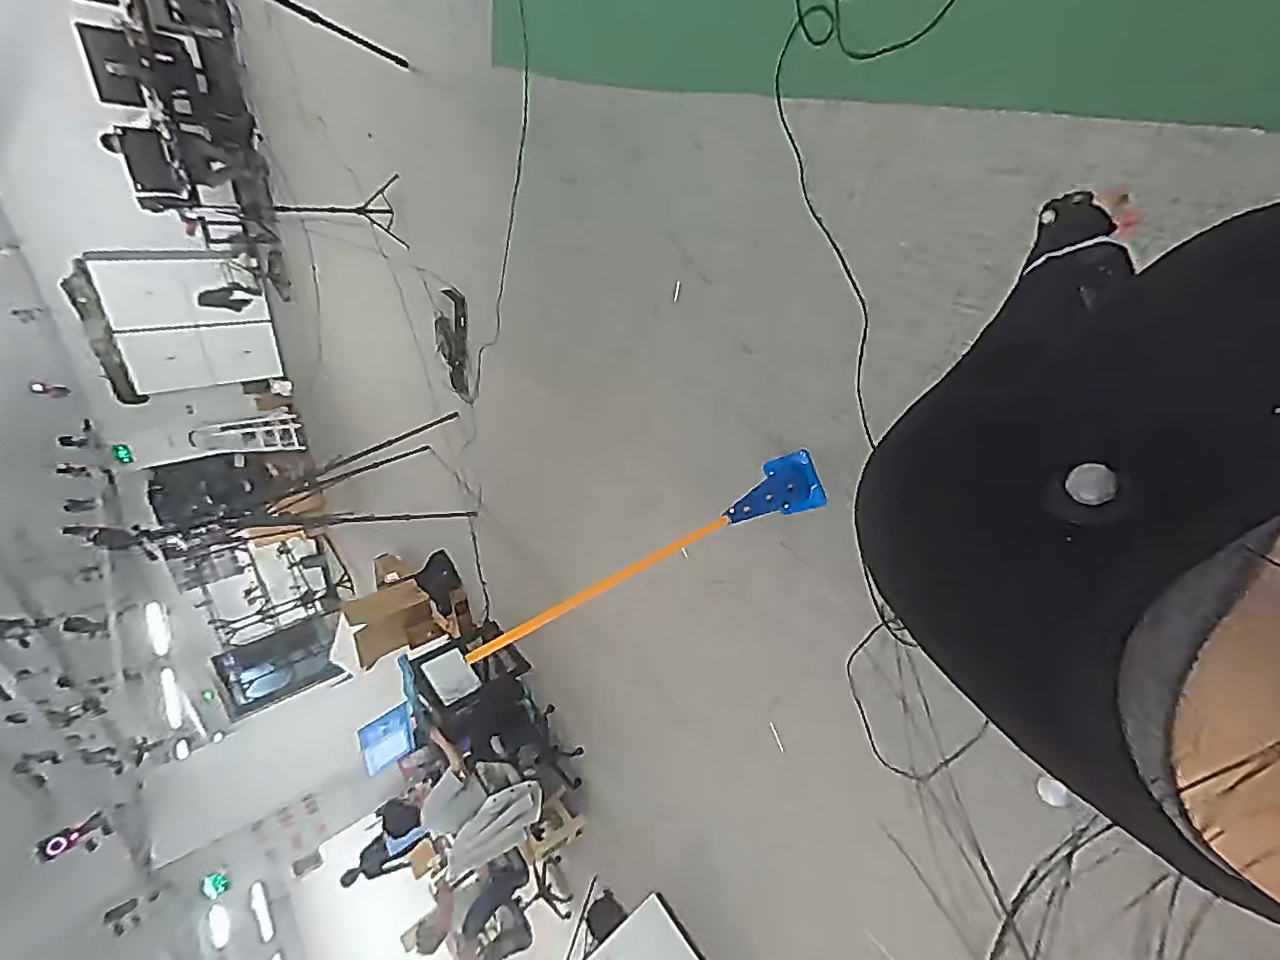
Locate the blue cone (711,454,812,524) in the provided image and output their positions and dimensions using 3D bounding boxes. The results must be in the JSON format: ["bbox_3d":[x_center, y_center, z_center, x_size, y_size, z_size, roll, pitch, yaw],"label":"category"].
[{"bbox_3d":[0.369,0.071,1.753,0.193,0.380,0.192,-25,87,54],"label":"blue cone"}]
